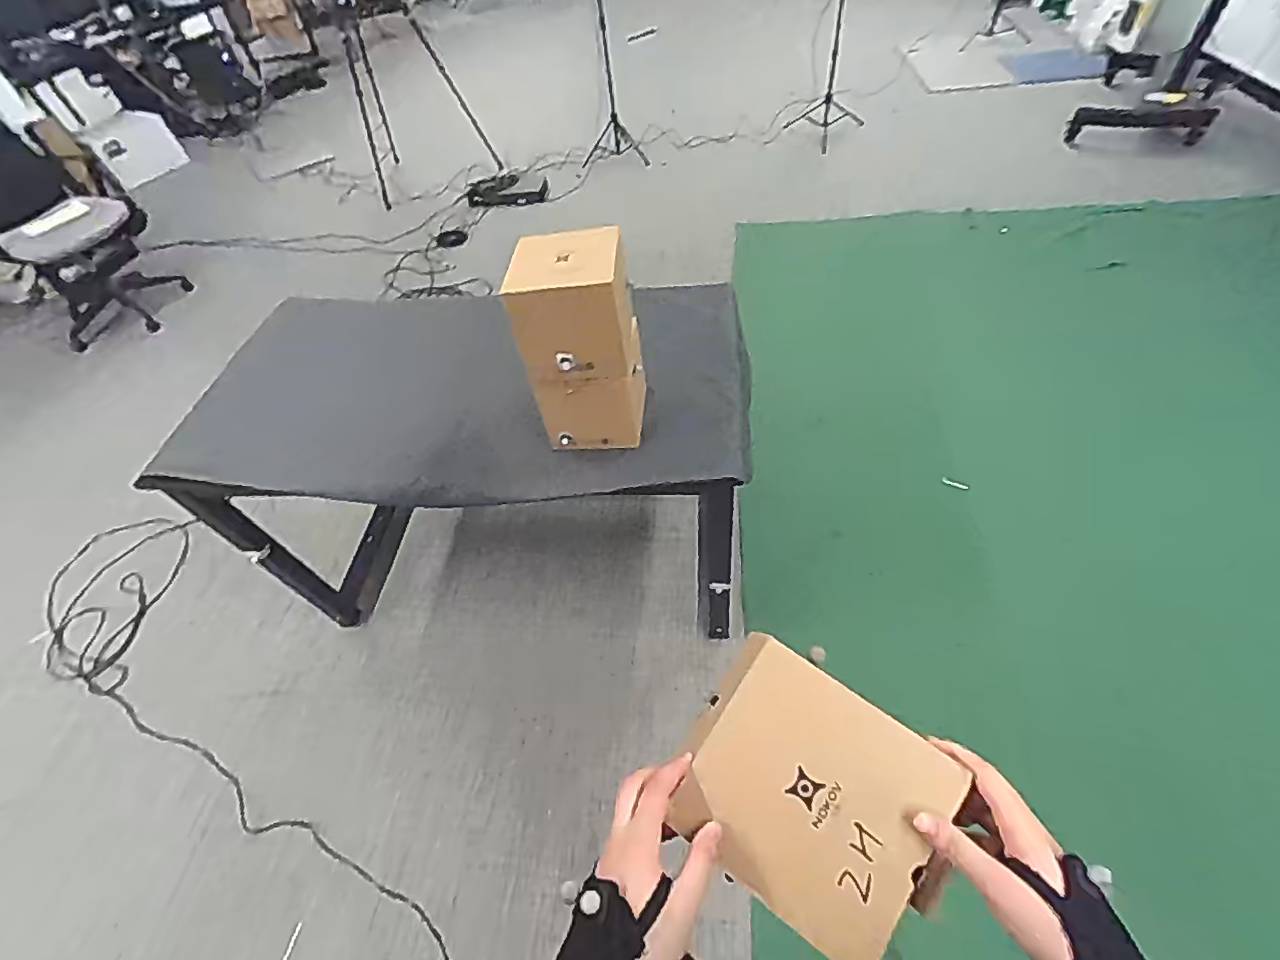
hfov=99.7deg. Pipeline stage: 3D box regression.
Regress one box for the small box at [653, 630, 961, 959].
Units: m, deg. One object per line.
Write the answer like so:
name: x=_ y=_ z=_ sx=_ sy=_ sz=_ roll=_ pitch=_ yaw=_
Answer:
small box: x=0.133 y=0.253 z=0.485 sx=0.179 sy=0.176 sz=0.168 roll=32 pitch=83 yaw=13

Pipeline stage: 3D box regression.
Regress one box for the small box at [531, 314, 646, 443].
small box: x=-0.083 y=-0.180 z=0.991 sx=0.168 sy=0.176 sz=0.179 roll=0 pitch=49 yaw=8

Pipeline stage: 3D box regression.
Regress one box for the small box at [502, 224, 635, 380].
small box: x=-0.102 y=-0.282 z=0.865 sx=0.168 sy=0.176 sz=0.179 roll=-4 pitch=50 yaw=7
